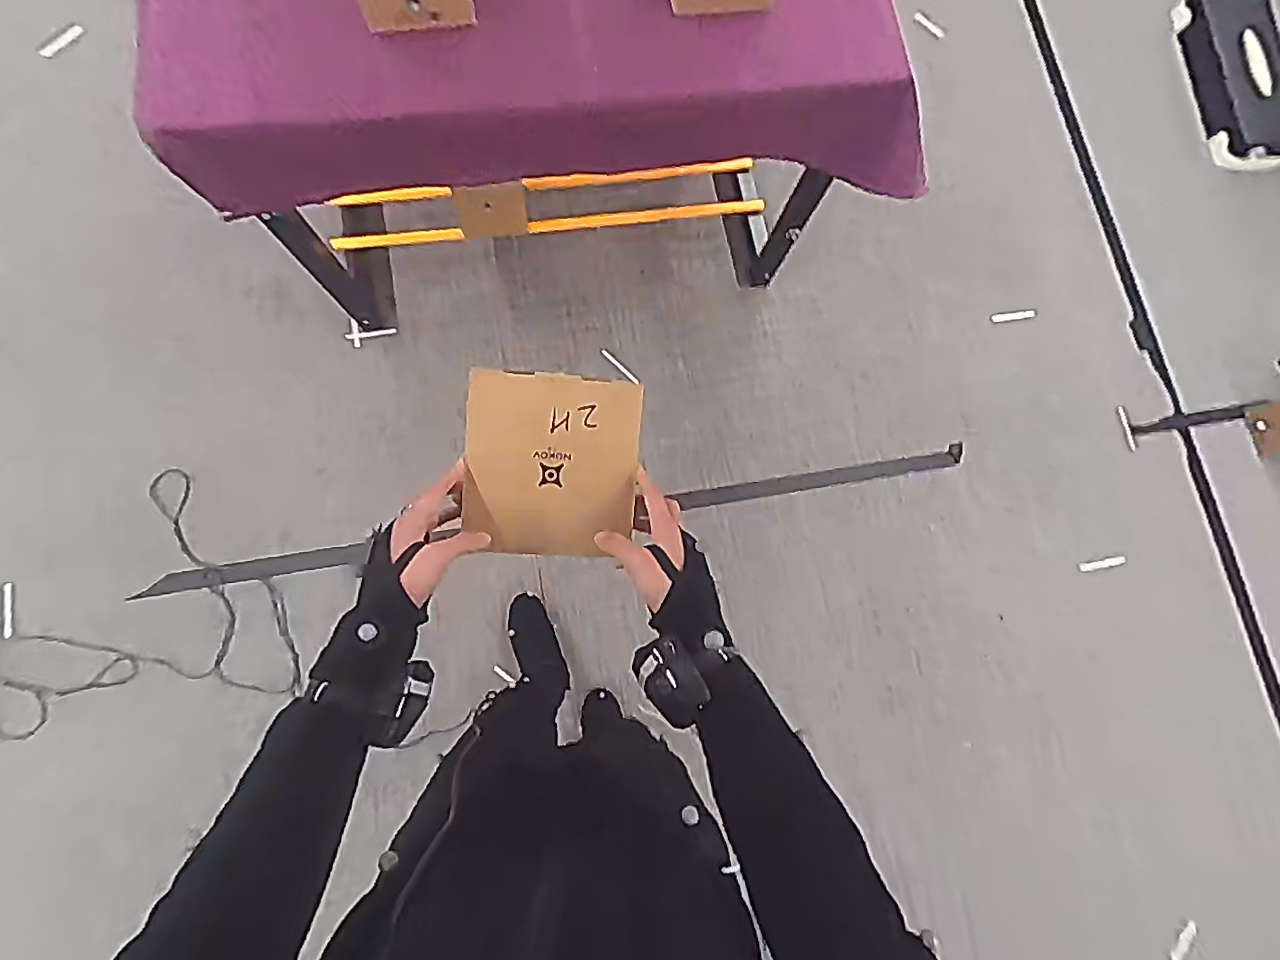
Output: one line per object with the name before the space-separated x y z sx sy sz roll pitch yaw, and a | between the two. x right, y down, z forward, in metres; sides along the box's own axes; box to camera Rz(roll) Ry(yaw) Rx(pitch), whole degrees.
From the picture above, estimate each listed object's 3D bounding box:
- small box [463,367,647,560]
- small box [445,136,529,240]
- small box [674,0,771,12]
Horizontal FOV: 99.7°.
small box | -0.091 -0.019 0.598 0.168 0.176 0.179 4 93 -9
small box | -0.389 -0.753 1.406 0.179 0.176 0.168 -11 82 -7
small box | 0.135 -0.881 0.845 0.179 0.176 0.168 -10 82 -7
